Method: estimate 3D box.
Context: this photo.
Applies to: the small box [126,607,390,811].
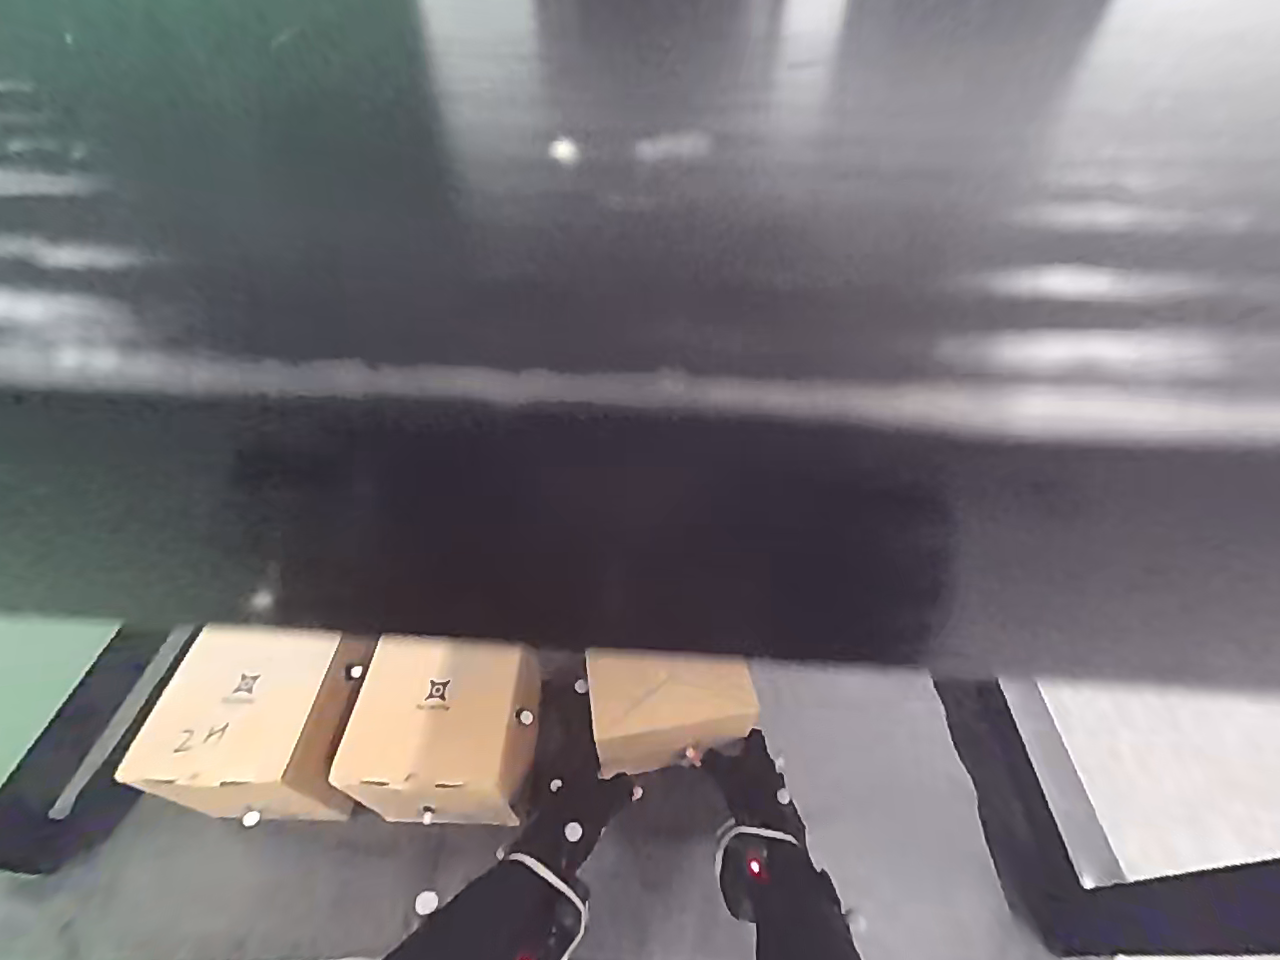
[{"bbox_3d":[-0.421,0.271,0.641,0.168,0.176,0.179,1,48,1],"label":"small box"}]
